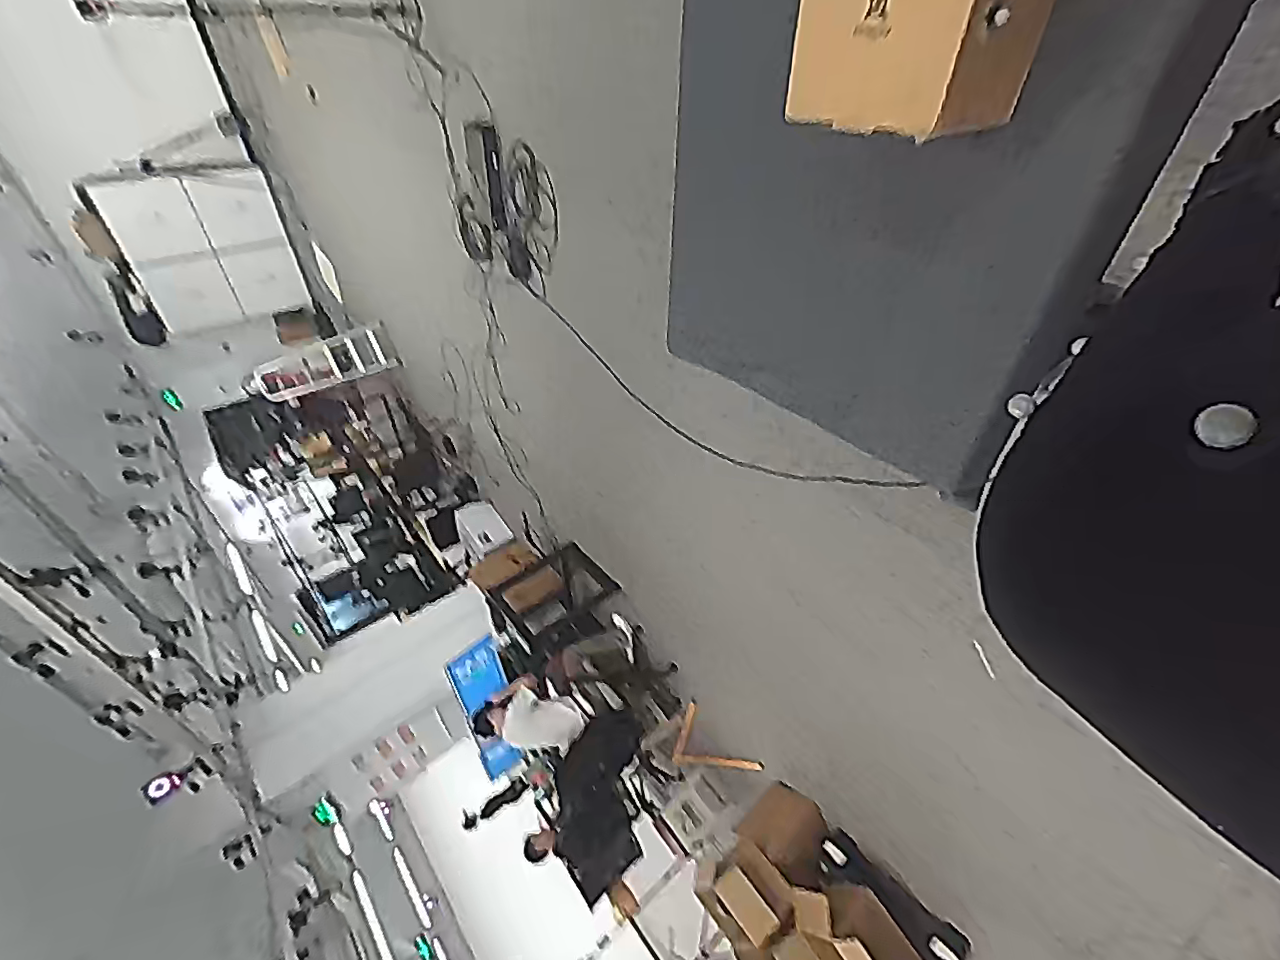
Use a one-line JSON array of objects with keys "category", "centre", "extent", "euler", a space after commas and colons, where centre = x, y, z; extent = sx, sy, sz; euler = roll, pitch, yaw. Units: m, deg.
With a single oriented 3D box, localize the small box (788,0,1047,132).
[{"category": "small box", "centre": [0.272, -0.452, 0.519], "extent": [0.168, 0.176, 0.179], "euler": [35, 140, 36]}]
